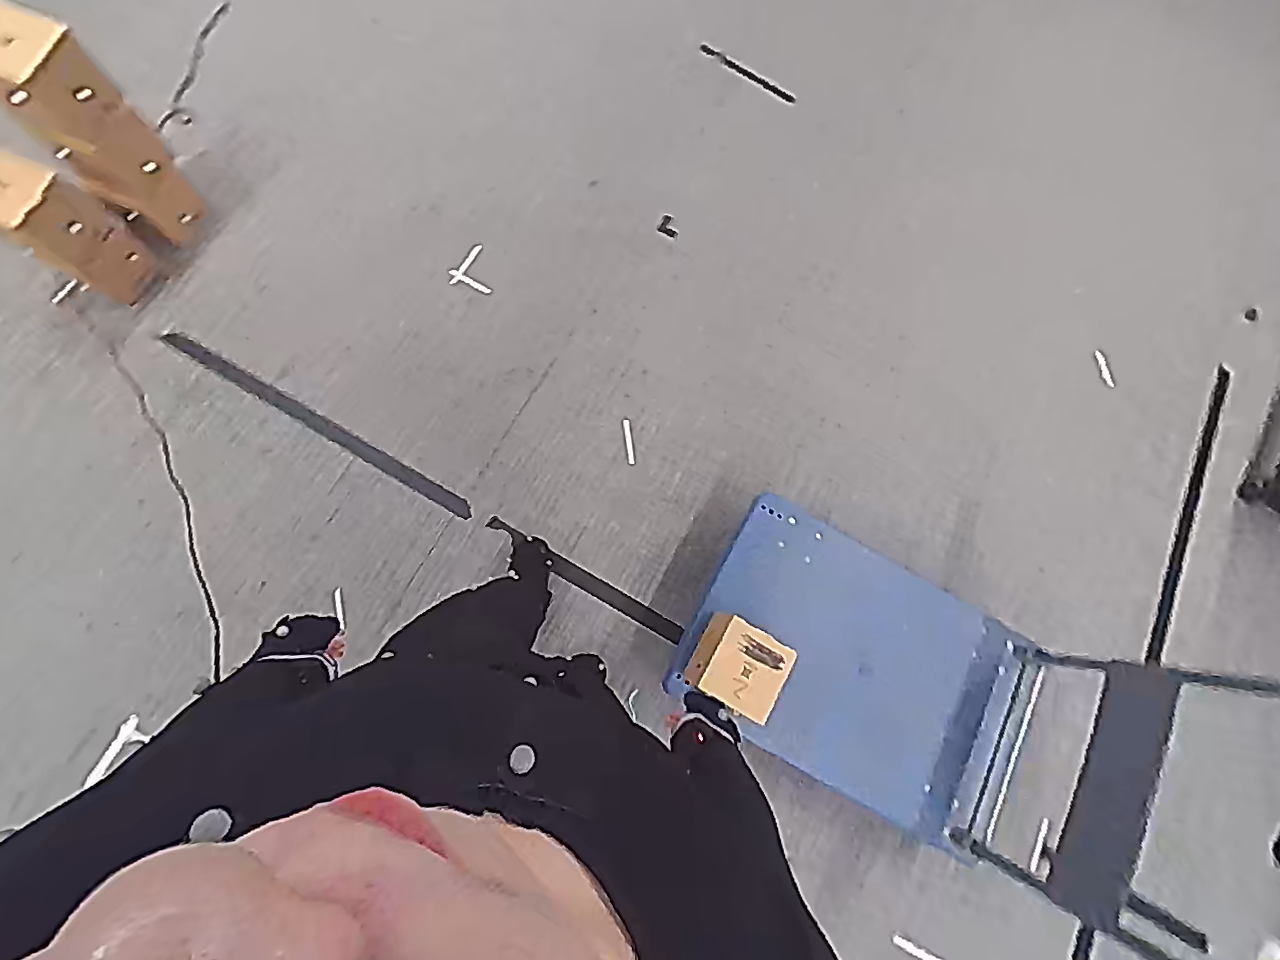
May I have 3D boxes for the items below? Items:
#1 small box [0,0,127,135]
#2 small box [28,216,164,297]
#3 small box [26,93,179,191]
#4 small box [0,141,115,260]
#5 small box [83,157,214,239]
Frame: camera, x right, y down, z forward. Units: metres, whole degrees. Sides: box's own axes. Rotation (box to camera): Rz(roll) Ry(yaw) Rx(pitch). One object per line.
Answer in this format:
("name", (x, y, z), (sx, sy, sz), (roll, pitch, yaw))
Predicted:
("small box", (-1.326, -0.918, 1.208), (0.179, 0.176, 0.168), (19, 76, -3))
("small box", (-1.468, -0.629, 1.468), (0.179, 0.176, 0.168), (25, 76, 0))
("small box", (-1.343, -0.874, 1.366), (0.179, 0.176, 0.168), (22, 76, -3))
("small box", (-1.454, -0.666, 1.309), (0.179, 0.176, 0.168), (22, 76, -2))
("small box", (-1.369, -0.815, 1.519), (0.179, 0.176, 0.168), (21, 76, -2))
